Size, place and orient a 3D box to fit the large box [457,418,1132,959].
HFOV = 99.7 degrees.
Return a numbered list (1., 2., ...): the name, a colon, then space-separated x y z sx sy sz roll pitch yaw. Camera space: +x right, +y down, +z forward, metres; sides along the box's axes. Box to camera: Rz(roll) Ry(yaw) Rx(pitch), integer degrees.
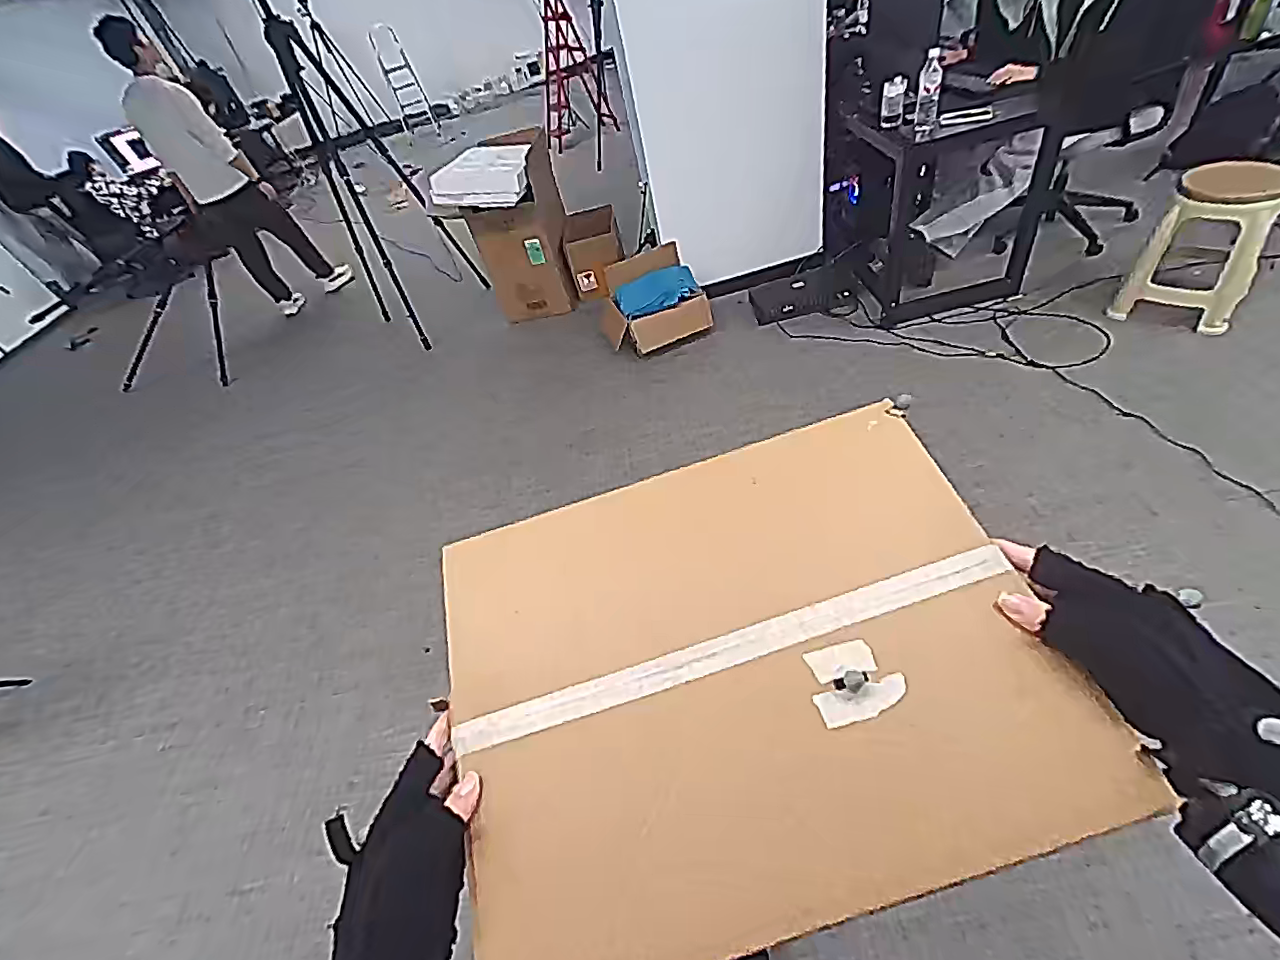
1. large box: 0.089 0.205 0.521 0.408 0.320 0.320 -18 58 -1
